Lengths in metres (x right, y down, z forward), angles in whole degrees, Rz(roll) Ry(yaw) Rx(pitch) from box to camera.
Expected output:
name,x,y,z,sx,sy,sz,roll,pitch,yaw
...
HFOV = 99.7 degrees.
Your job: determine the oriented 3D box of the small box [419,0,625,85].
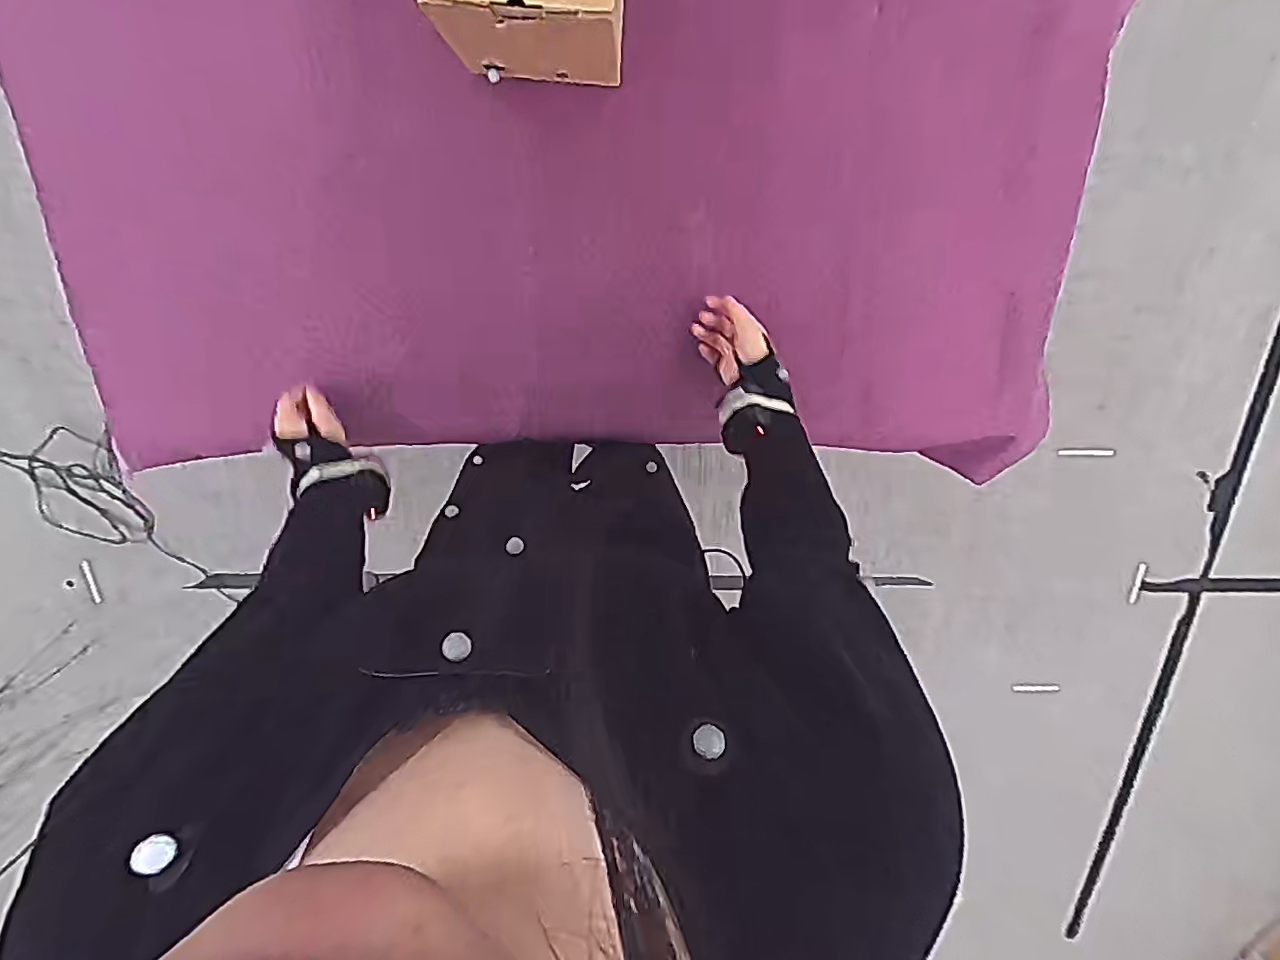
name,x,y,z,sx,sy,sz,roll,pitch,yaw
small box,-0.096,-0.493,0.494,0.168,0.176,0.179,3,109,-3
